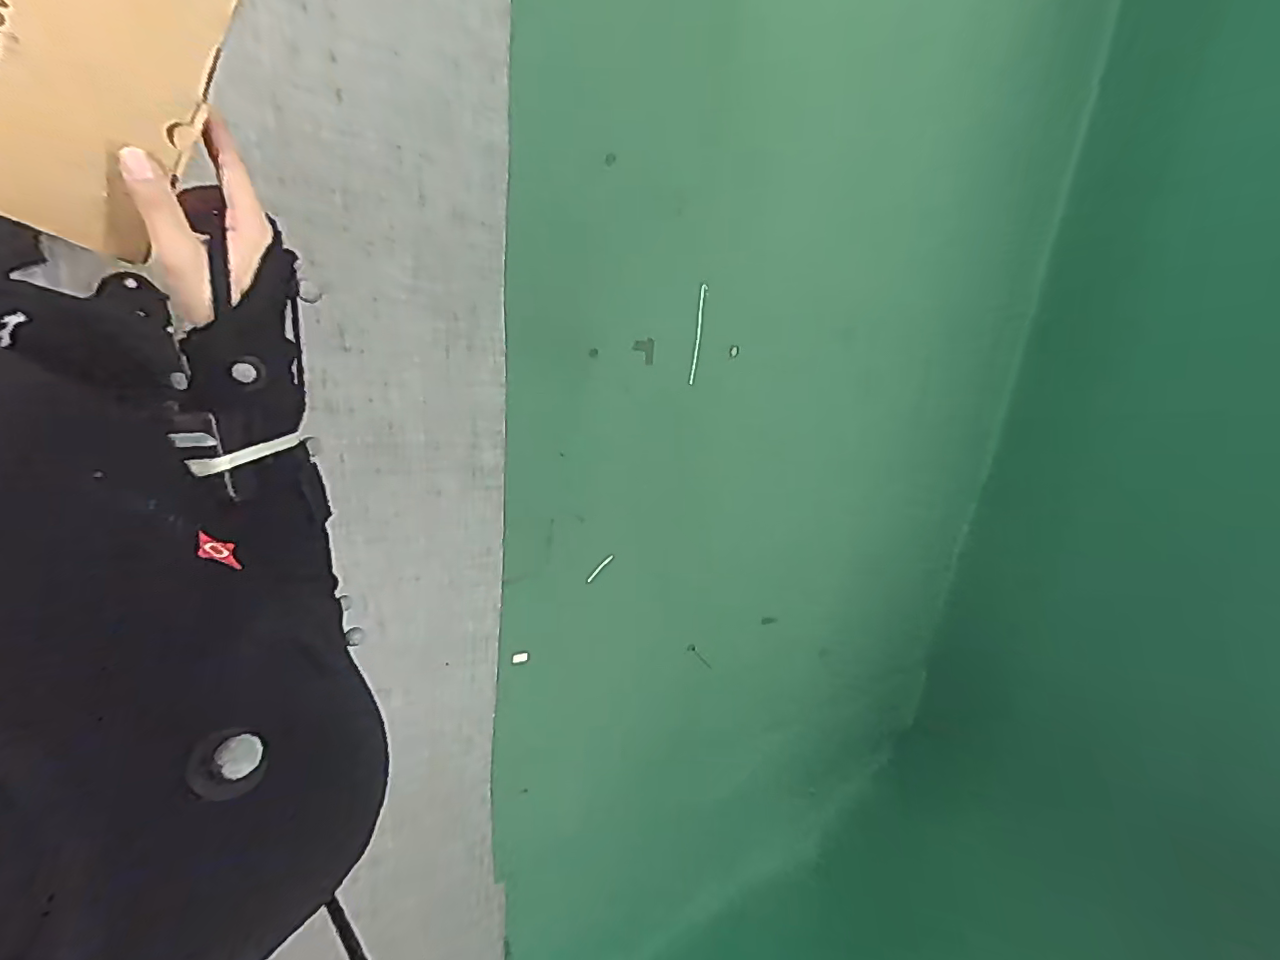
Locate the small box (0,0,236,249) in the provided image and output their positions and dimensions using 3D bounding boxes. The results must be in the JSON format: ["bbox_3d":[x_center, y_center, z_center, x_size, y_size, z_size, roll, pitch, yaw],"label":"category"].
[{"bbox_3d":[-0.340,-0.261,0.279,0.179,0.176,0.168,18,117,-47],"label":"small box"}]
